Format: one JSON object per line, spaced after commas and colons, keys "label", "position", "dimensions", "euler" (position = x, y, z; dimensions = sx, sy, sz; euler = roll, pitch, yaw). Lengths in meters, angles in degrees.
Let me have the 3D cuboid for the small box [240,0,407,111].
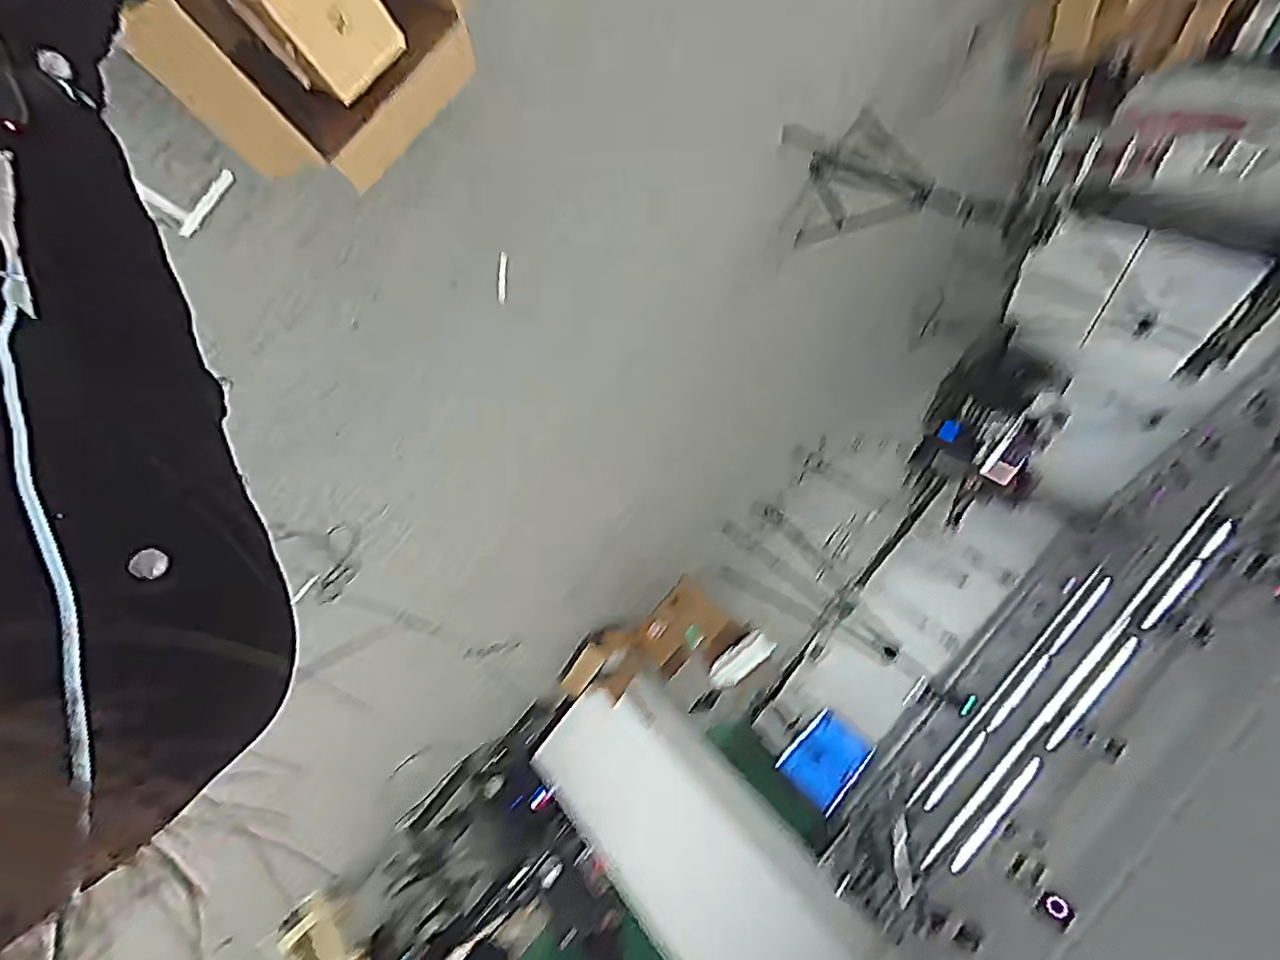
{"label": "small box", "position": [-0.574, -0.828, 0.984], "dimensions": [0.168, 0.176, 0.179], "euler": [-47, 149, -3]}
